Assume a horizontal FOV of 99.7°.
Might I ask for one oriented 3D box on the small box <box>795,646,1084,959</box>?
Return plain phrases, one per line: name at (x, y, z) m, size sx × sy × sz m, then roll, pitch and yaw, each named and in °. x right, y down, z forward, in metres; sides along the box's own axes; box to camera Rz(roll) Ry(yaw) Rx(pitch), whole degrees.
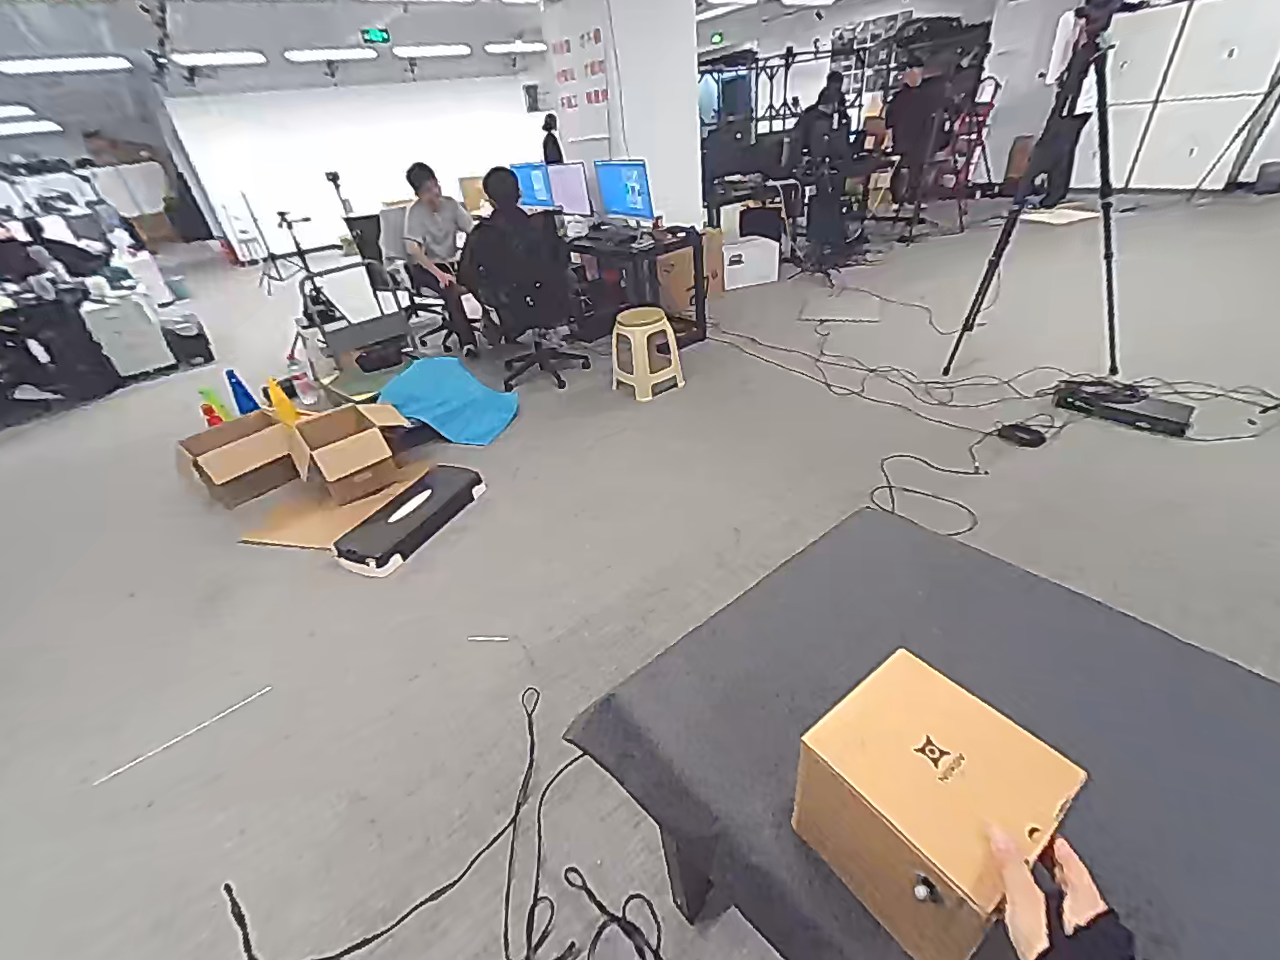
small box at (0.271, 0.308, 0.527) m, size 0.168 × 0.176 × 0.179 m, roll -26°, pitch 38°, yaw -27°
